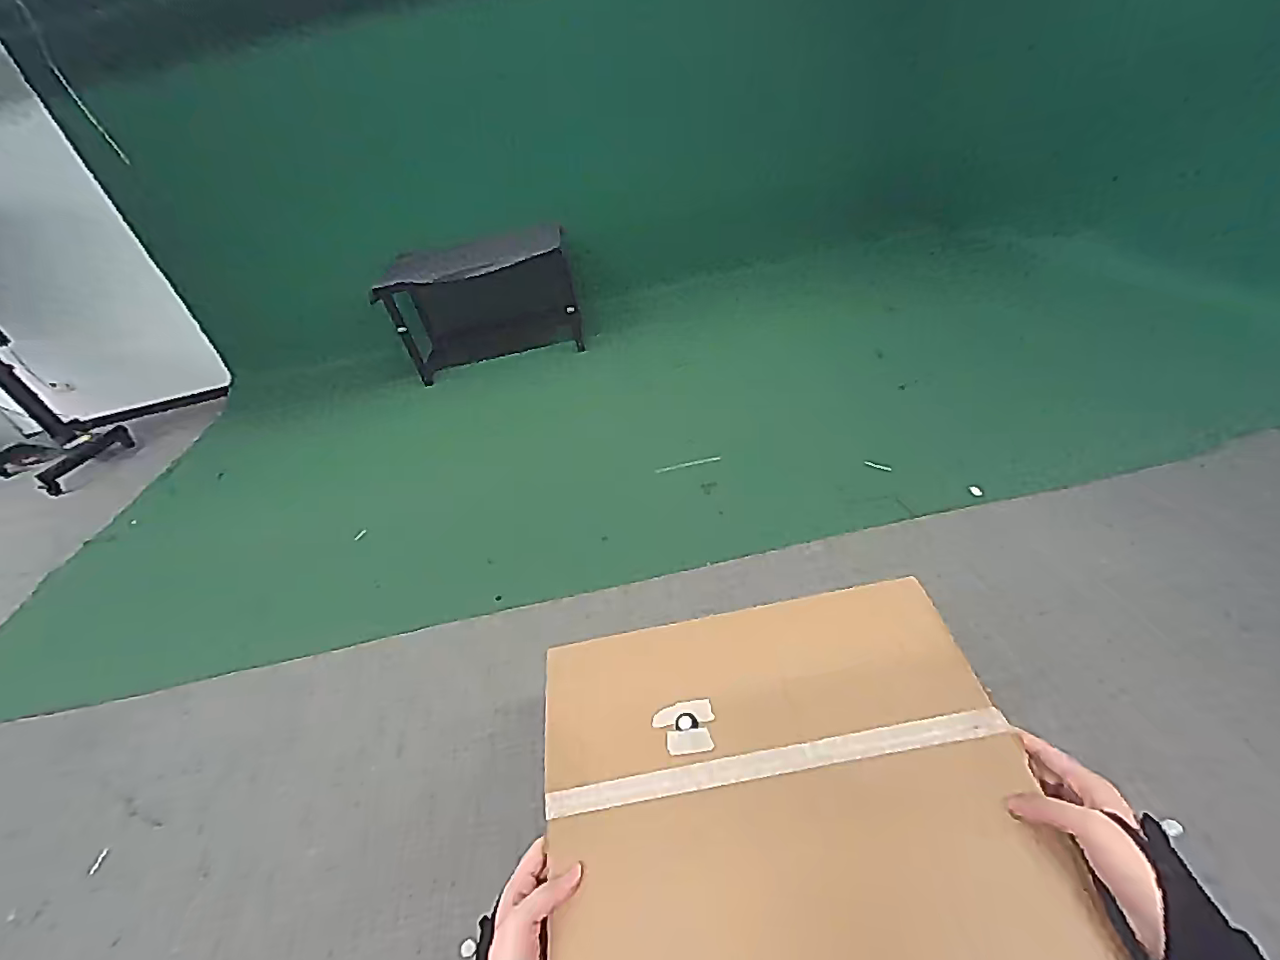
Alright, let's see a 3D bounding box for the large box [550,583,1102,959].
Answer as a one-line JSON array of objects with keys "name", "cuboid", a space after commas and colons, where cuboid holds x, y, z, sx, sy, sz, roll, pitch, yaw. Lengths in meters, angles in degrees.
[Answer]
[{"name": "large box", "cuboid": [0.145, 0.364, 0.593, 0.408, 0.320, 0.320, -14, 44, 3]}]
